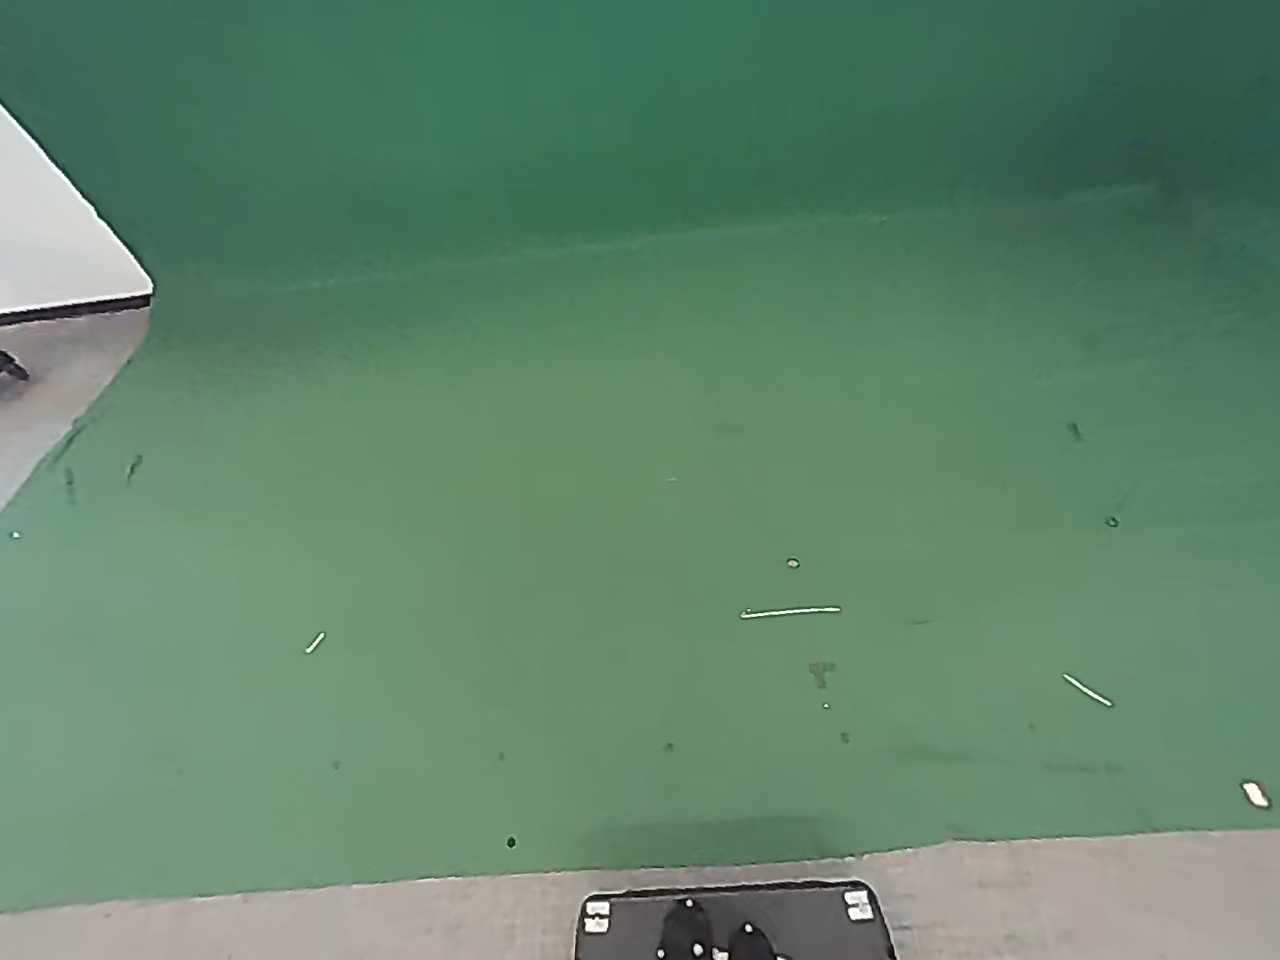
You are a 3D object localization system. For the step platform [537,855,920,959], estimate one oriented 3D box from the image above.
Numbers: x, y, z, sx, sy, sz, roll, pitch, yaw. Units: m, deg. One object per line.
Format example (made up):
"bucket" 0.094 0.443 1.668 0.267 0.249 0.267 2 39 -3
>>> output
"step platform" 0.160 0.906 1.023 0.684 0.204 0.286 -6 52 3
